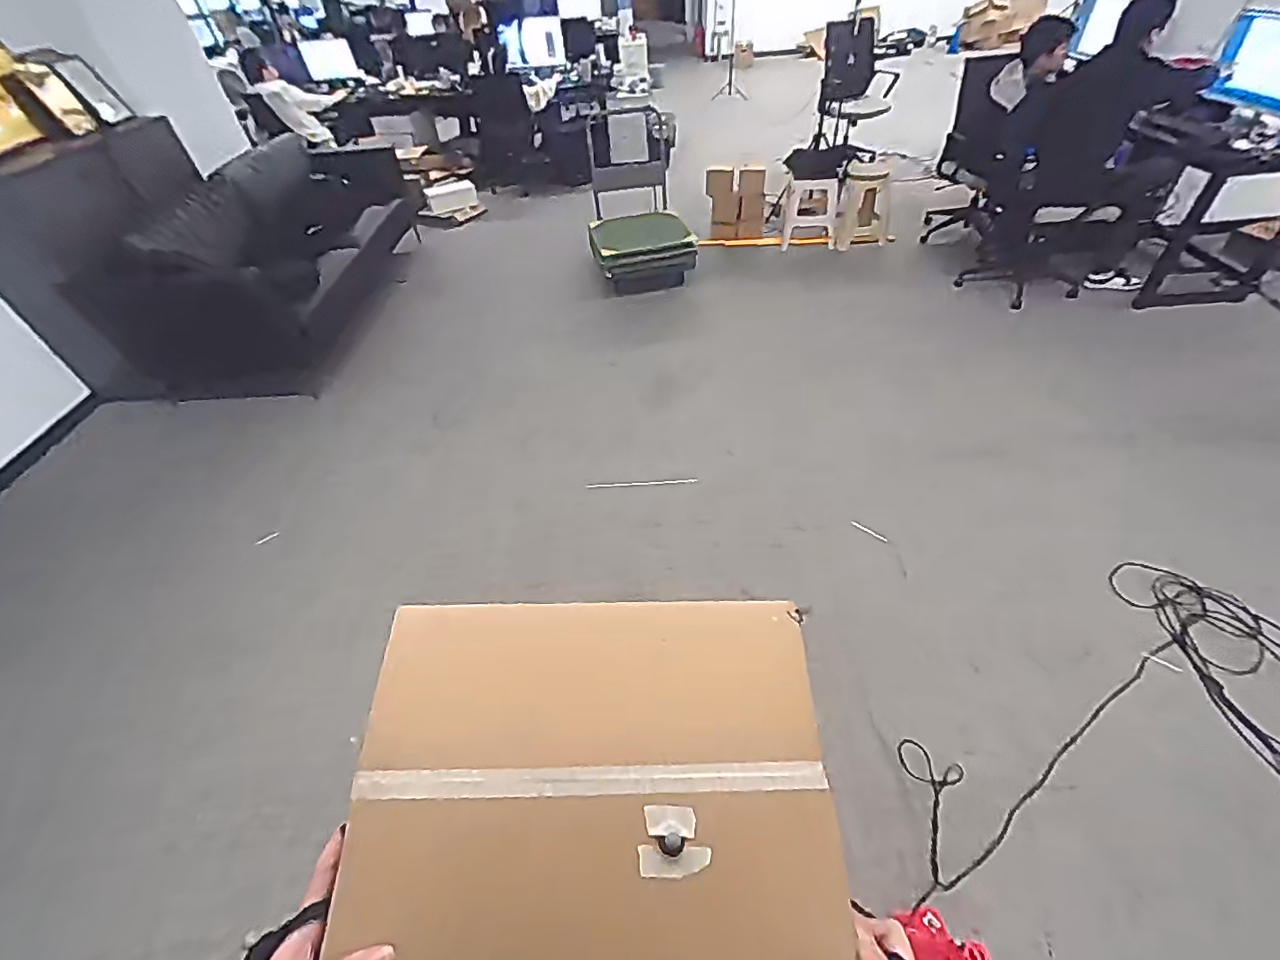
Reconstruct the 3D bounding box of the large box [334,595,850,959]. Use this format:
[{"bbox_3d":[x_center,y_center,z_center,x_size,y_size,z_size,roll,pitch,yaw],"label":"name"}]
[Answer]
[{"bbox_3d":[-0.044,0.334,0.608,0.408,0.320,0.320,-1,59,-1],"label":"large box"}]
